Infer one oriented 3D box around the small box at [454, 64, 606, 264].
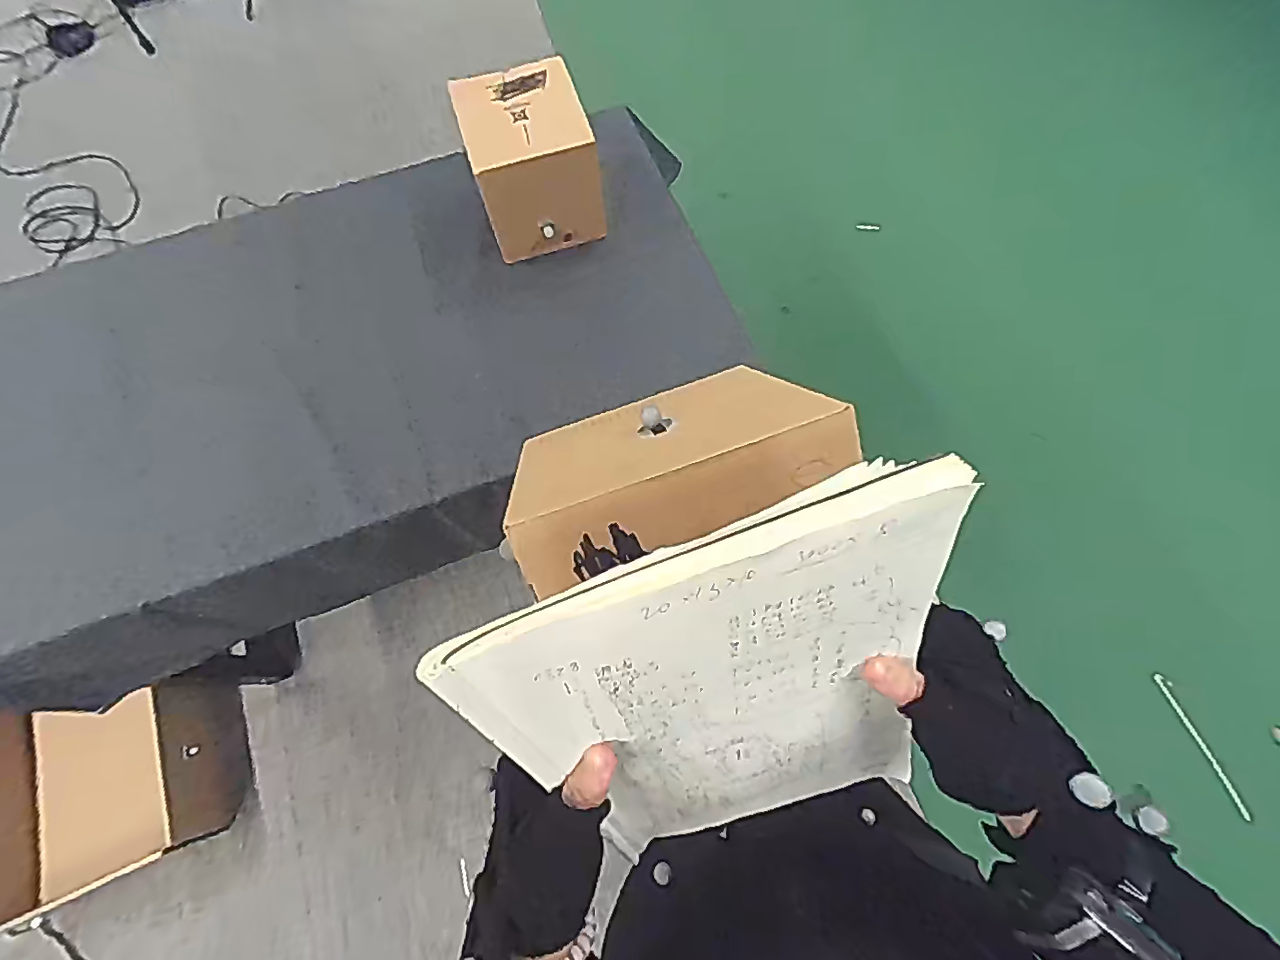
[{"bbox_3d":[-0.155,-0.459,0.801,0.168,0.176,0.179,-17,71,-4],"label":"small box"}]
